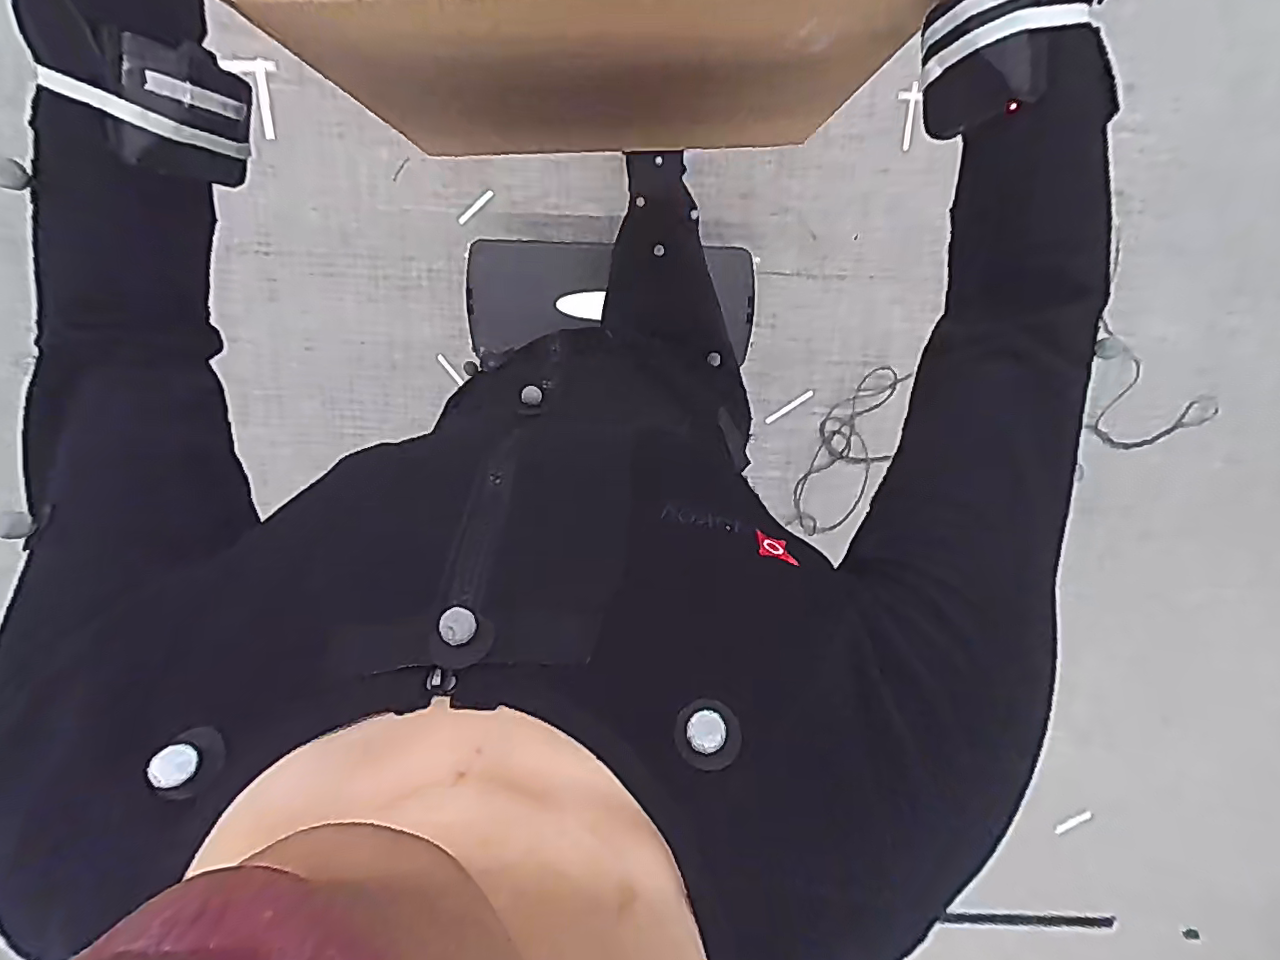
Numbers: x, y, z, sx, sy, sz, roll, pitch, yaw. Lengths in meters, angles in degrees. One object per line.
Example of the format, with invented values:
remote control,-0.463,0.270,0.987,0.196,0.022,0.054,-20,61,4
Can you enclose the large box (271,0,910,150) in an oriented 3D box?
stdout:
large box,-0.030,-0.465,0.392,0.408,0.320,0.320,-2,107,0
